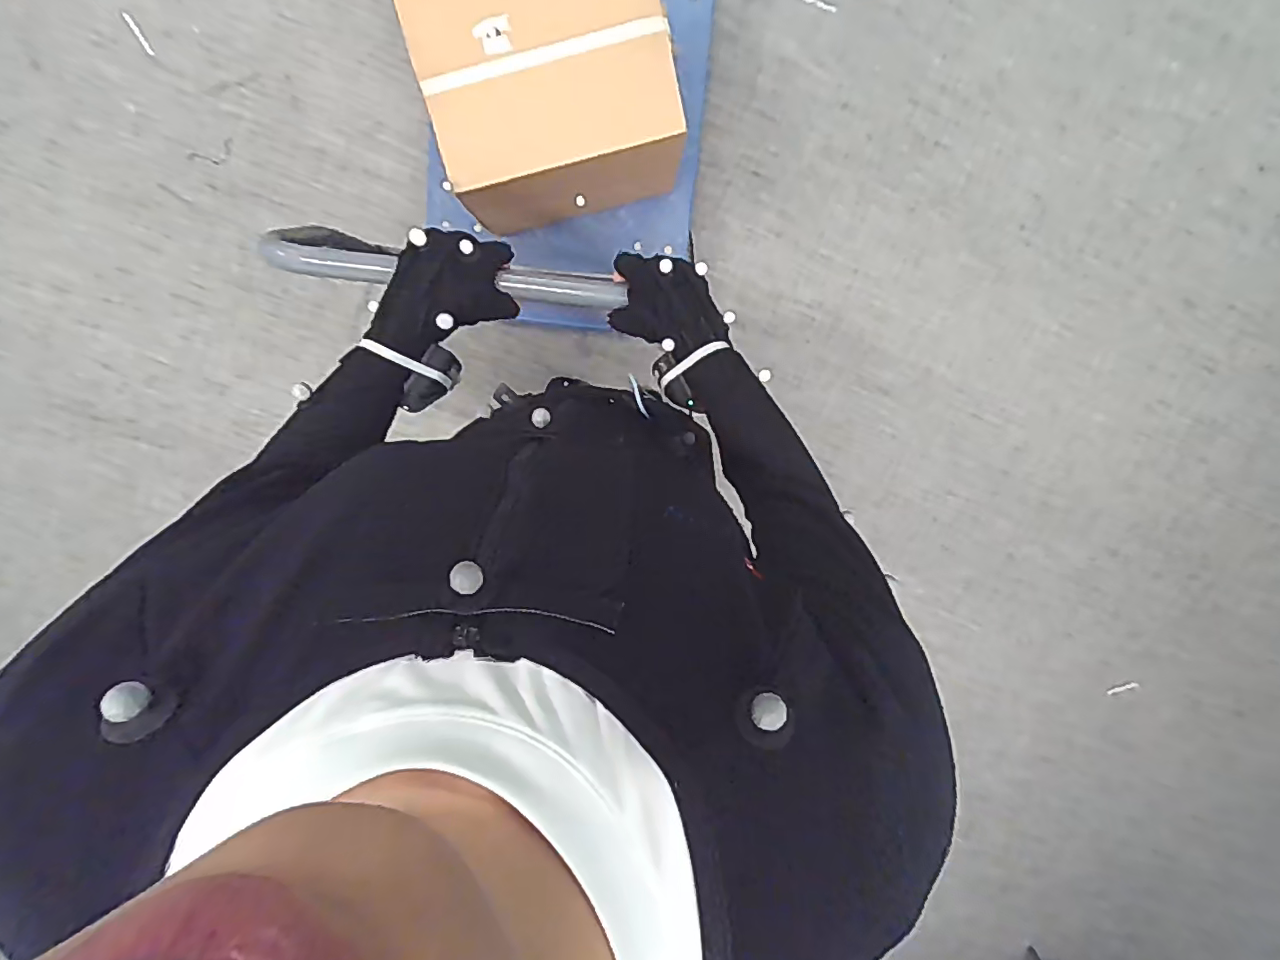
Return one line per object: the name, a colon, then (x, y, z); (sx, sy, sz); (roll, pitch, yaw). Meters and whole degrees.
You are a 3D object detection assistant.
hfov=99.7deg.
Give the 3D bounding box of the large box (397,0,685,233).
large box: (-0.157, -0.704, 1.014); (0.408, 0.320, 0.320); (-15, 101, 2)
